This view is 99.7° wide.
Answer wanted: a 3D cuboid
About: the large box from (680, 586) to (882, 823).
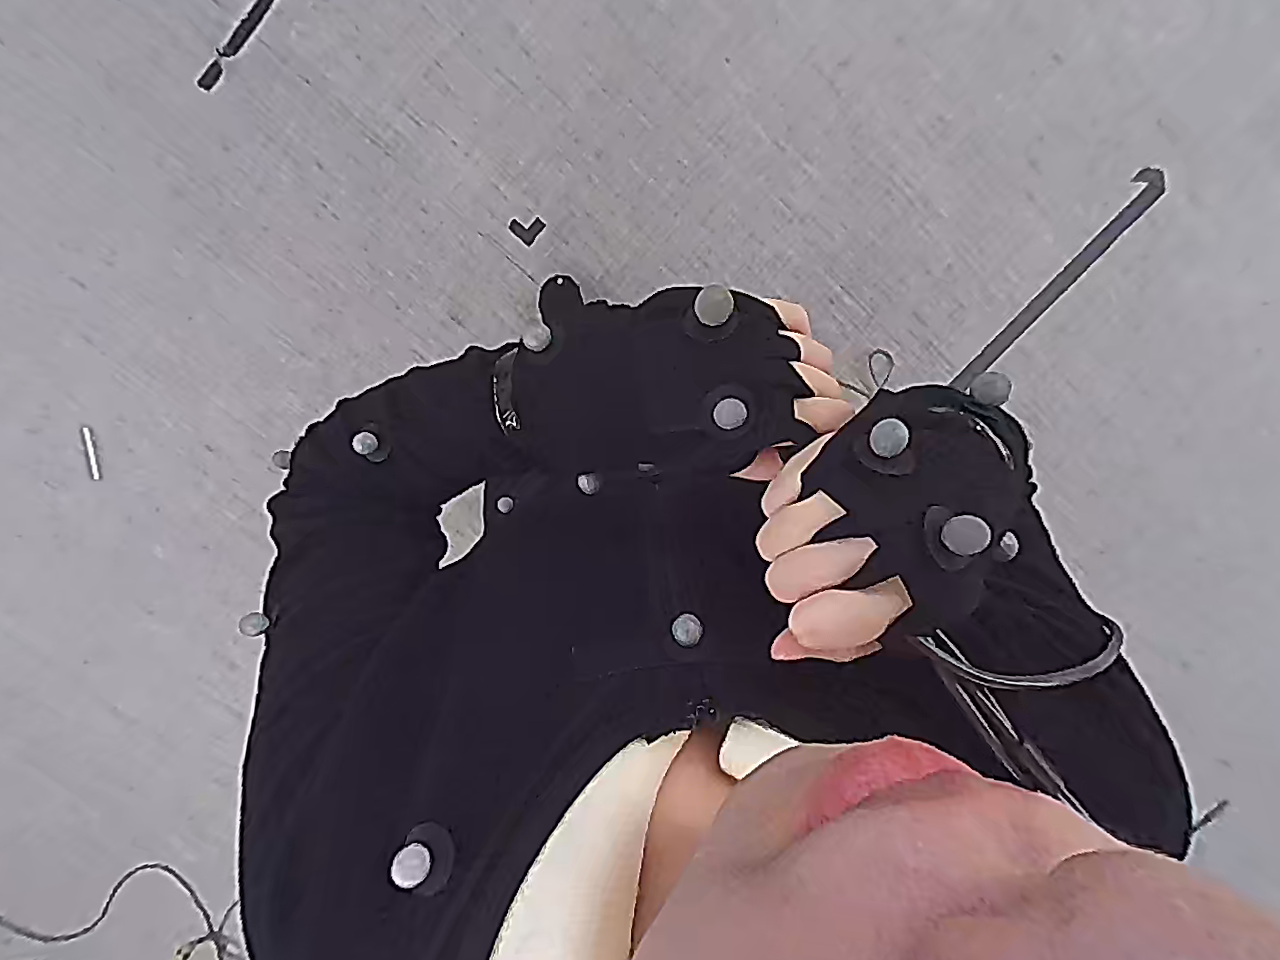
[{"bbox_3d":[0.310,0.521,1.306,0.320,0.320,0.408,14,103,-6],"label":"large box"}]
